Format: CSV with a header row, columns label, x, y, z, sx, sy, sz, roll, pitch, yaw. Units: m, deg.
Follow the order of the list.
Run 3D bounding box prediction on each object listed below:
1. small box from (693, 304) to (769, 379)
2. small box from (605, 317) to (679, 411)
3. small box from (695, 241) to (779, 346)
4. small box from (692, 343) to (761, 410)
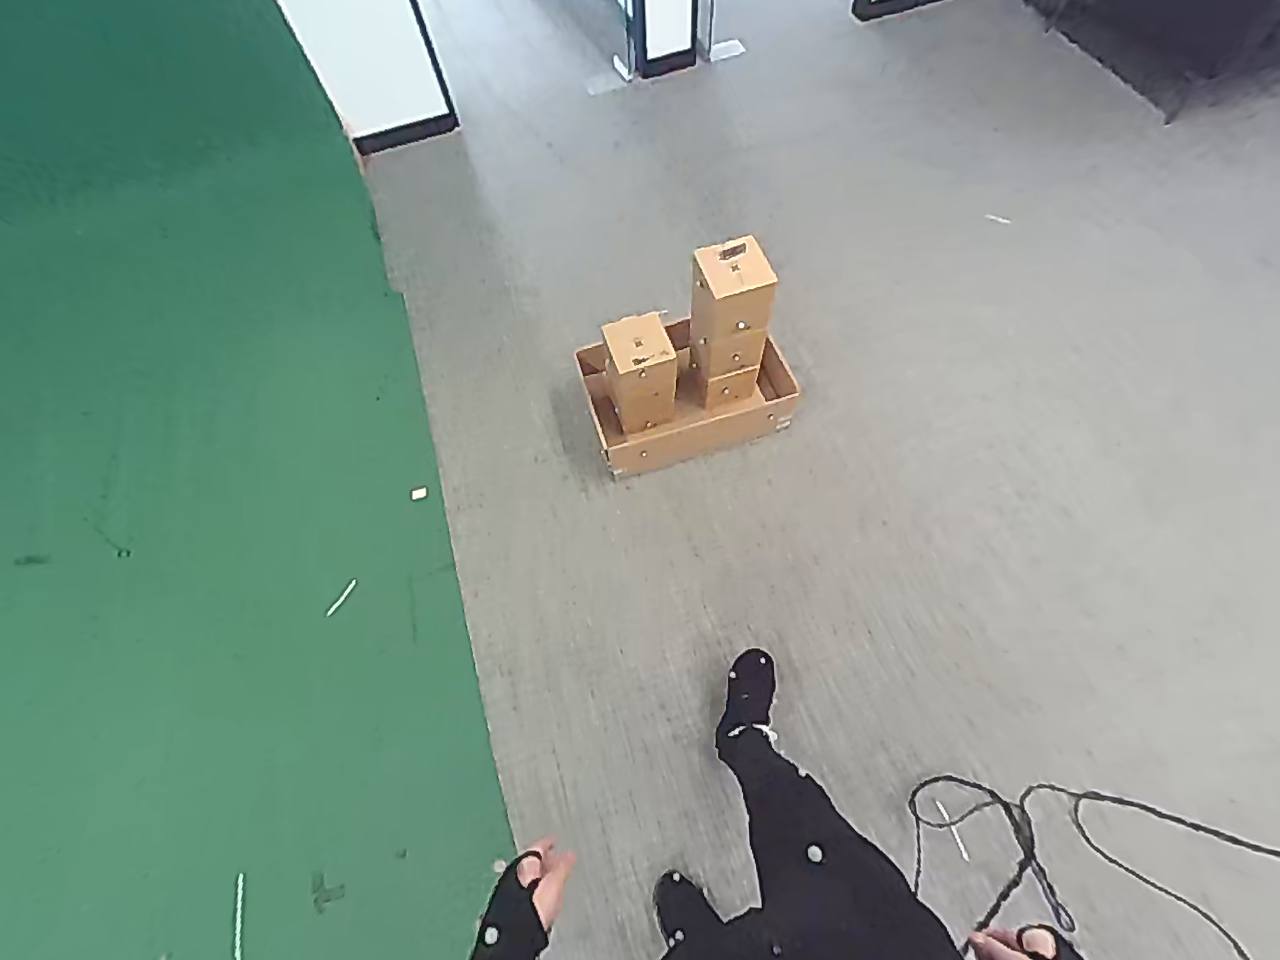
label,x,y,z,sx,sy,sz,roll,pitch,yaw
small box,0.260,-0.416,1.579,0.168,0.176,0.179,-16,64,-3
small box,0.006,-0.329,1.549,0.168,0.176,0.179,-18,64,-5
small box,0.248,-0.490,1.432,0.168,0.176,0.179,-17,65,-3
small box,0.271,-0.342,1.725,0.168,0.176,0.179,-17,64,-3
